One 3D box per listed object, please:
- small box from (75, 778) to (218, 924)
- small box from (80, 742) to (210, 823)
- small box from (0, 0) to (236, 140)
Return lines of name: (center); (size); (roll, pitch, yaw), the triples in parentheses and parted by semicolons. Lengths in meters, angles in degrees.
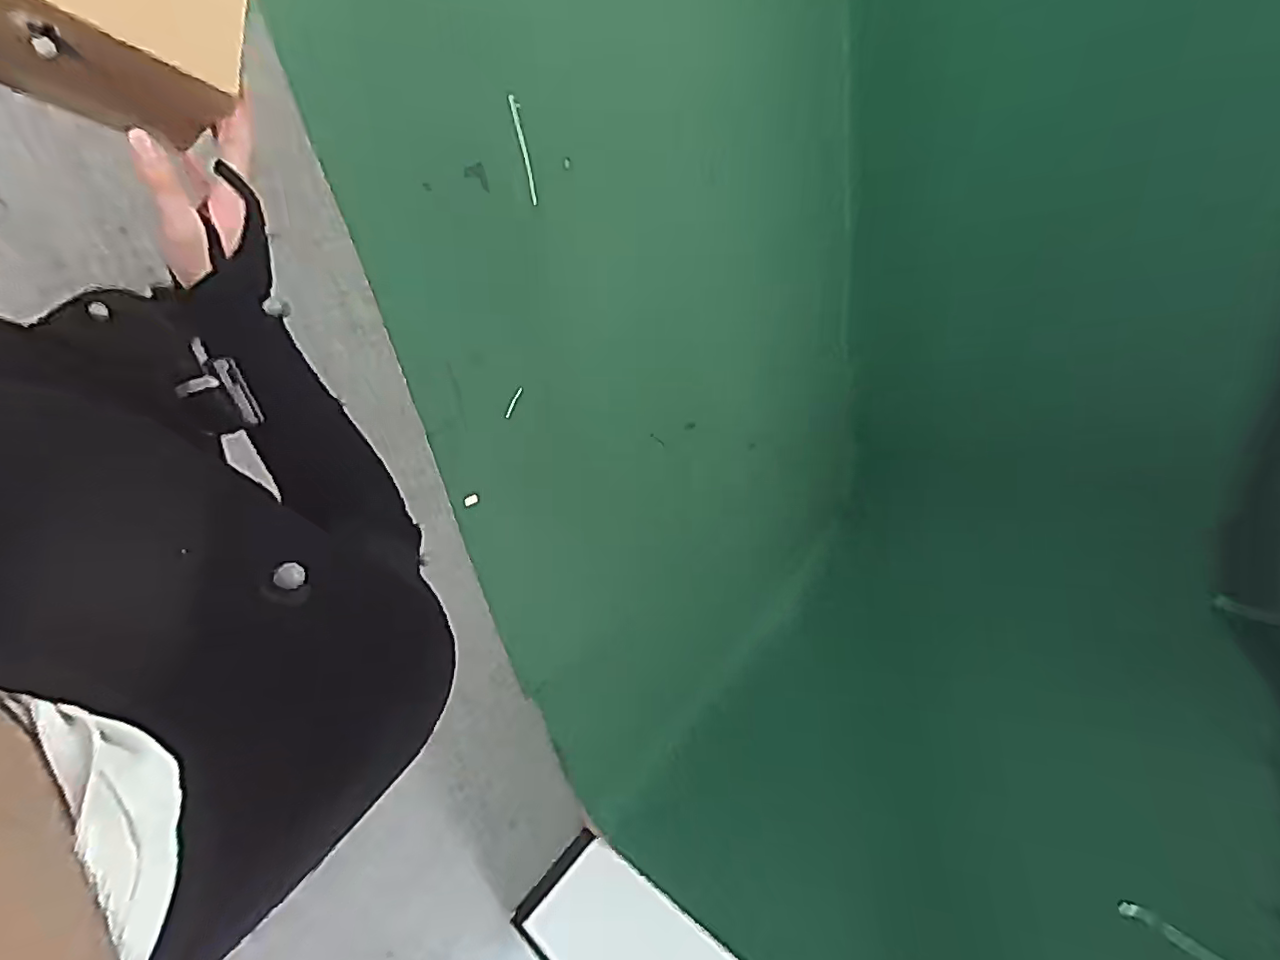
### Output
small box: (-1.062, 0.783, 1.163); (0.168, 0.176, 0.179); (-35, 125, -36)
small box: (-1.172, 0.766, 1.281); (0.179, 0.176, 0.168); (-31, 121, -38)
small box: (-0.397, -0.367, 0.362); (0.179, 0.176, 0.168); (4, 93, -51)
